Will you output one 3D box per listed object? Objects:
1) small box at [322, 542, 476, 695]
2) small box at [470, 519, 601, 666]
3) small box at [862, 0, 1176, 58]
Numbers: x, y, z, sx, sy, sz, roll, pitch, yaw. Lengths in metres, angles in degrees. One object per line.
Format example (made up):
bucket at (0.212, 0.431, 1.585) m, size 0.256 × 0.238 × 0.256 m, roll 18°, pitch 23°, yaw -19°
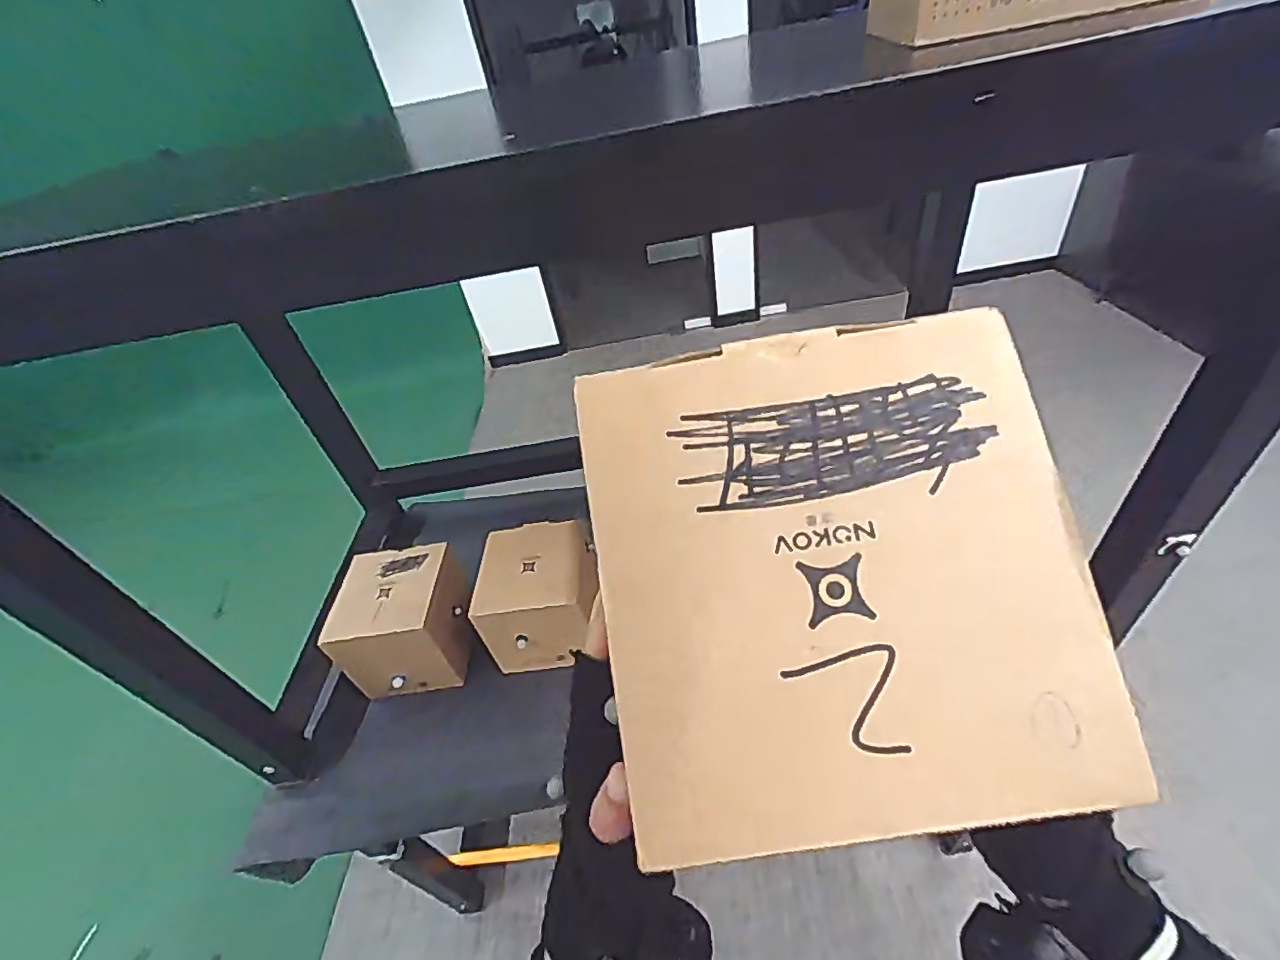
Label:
small box at (-0.386, 0.232, 0.911) m, size 0.168 × 0.176 × 0.179 m, roll -9°, pitch 40°, yaw 3°
small box at (-0.162, 0.194, 0.906) m, size 0.168 × 0.176 × 0.179 m, roll -8°, pitch 39°, yaw 4°
small box at (0.251, -0.396, 0.354) m, size 0.168 × 0.176 × 0.179 m, roll -2°, pitch 40°, yaw 12°
